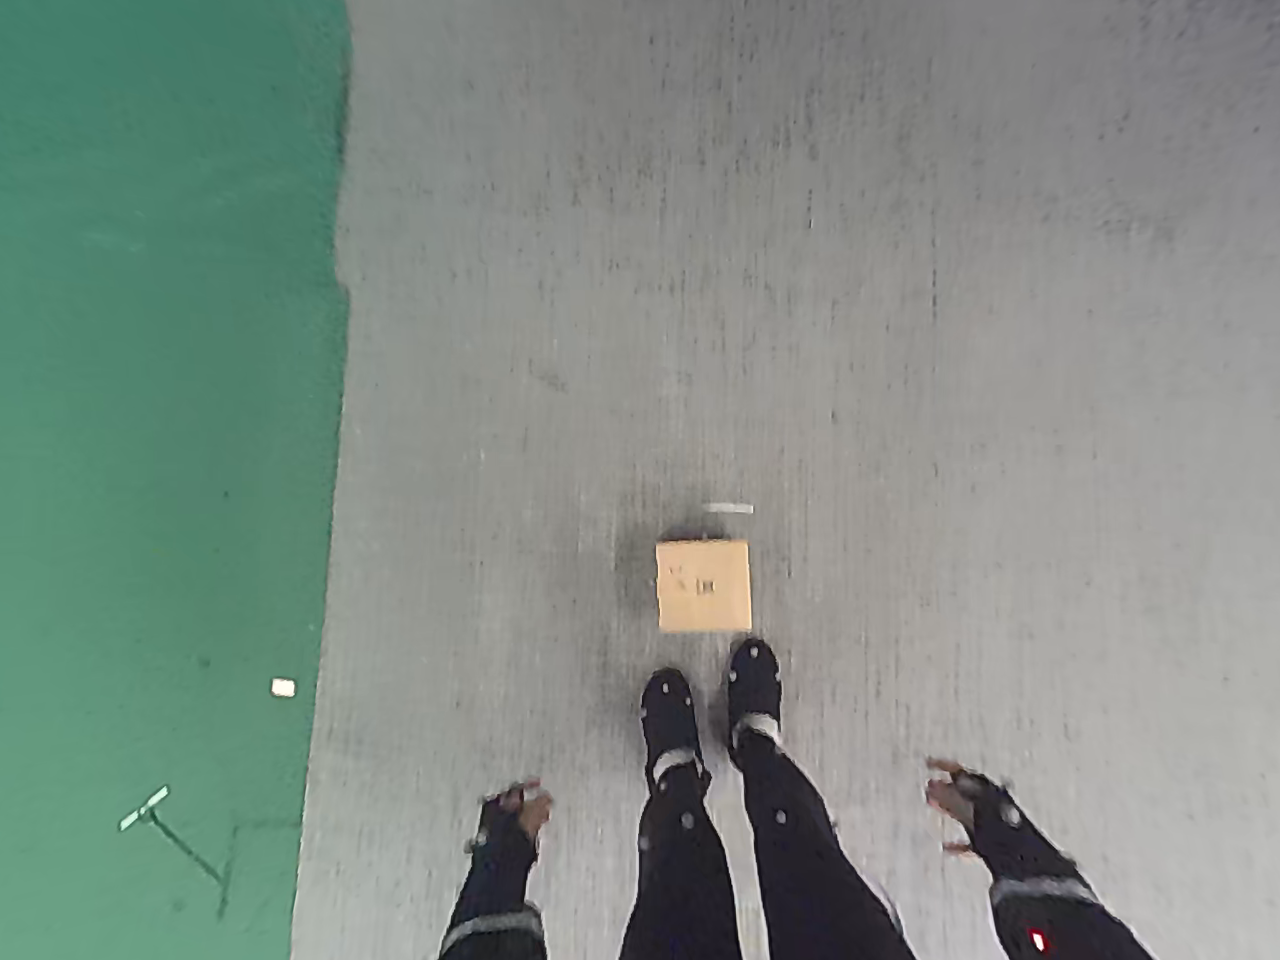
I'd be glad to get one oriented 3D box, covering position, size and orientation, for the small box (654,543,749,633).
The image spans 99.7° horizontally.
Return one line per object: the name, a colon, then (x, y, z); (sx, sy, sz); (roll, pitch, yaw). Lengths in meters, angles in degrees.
small box: (0.118, 0.214, 1.103); (0.179, 0.176, 0.168); (-2, 84, 2)
